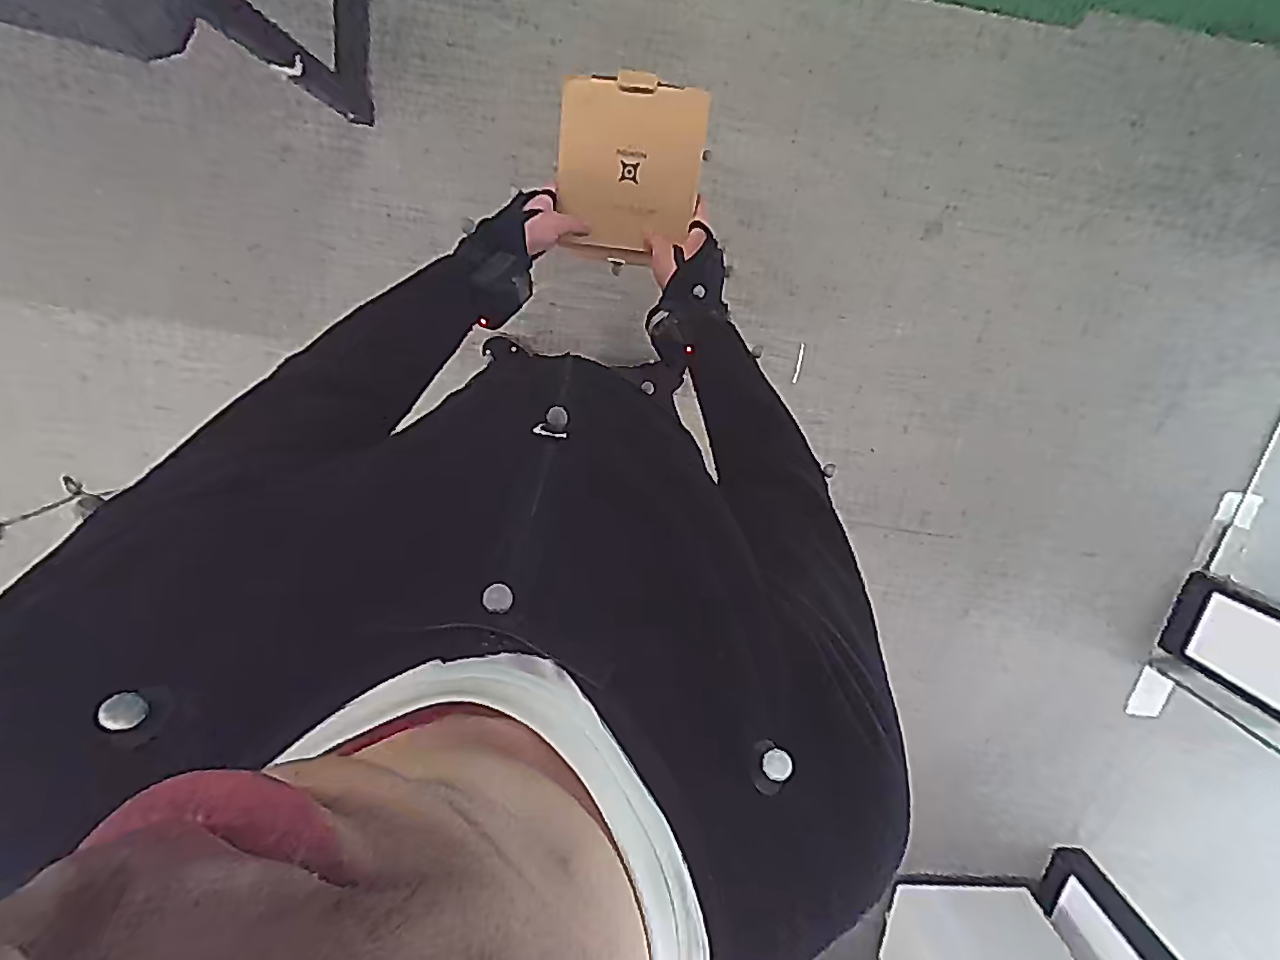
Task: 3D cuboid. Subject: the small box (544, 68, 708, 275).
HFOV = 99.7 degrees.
[{"bbox_3d":[-0.017,-0.369,0.680,0.168,0.176,0.179,8,105,0],"label":"small box"}]
